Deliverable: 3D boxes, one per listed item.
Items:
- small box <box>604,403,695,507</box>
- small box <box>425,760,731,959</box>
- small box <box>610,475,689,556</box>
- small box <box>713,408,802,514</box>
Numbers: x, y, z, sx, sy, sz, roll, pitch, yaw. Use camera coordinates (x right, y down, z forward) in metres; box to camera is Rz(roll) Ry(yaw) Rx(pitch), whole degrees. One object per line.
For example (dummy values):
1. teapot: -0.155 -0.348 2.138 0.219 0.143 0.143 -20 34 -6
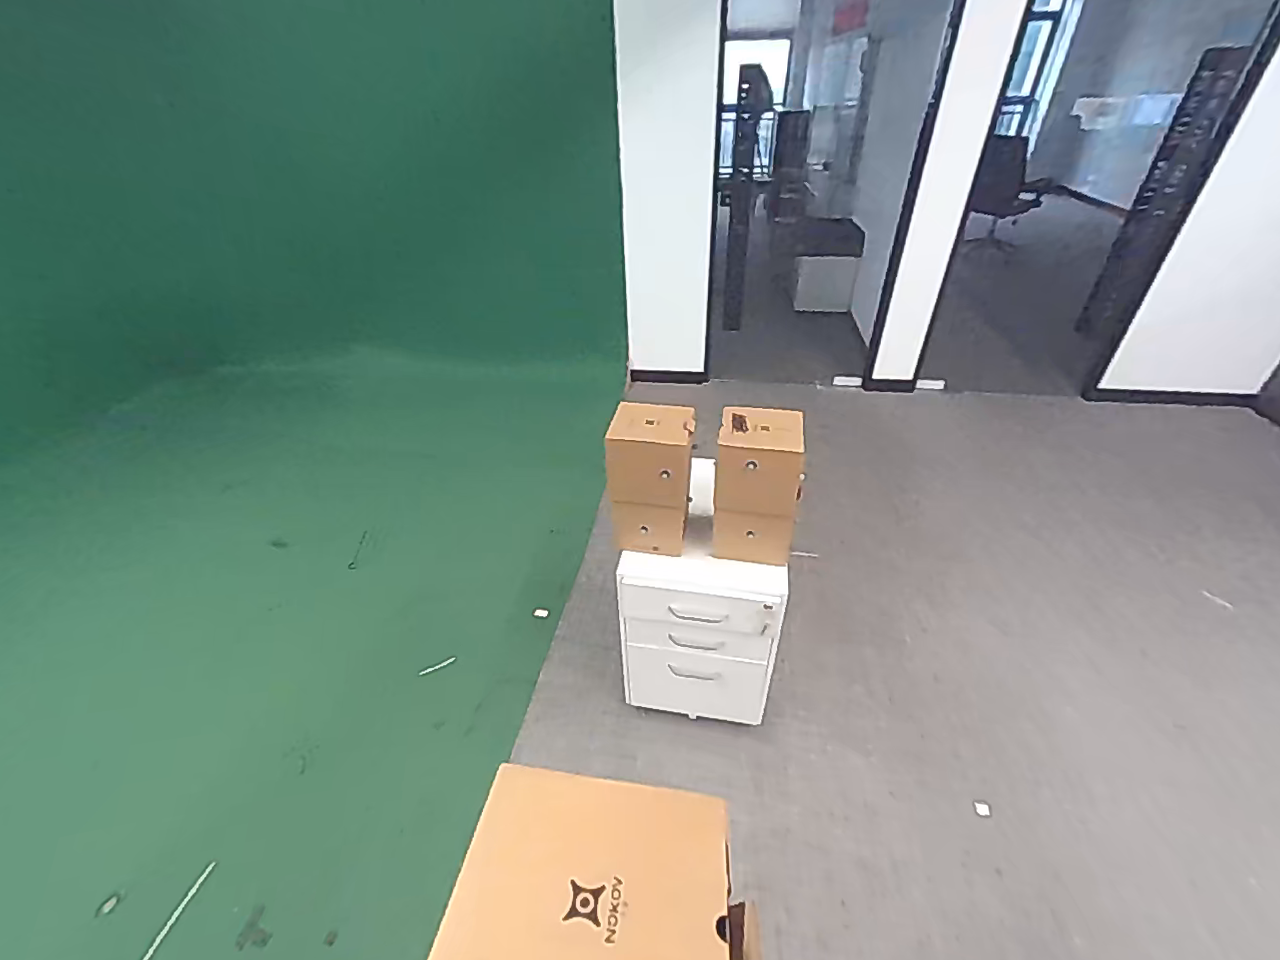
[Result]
1. small box: 0.025 -0.056 1.222 0.179 0.176 0.168 5 36 8
2. small box: -0.037 0.333 0.373 0.179 0.176 0.168 8 26 3
3. small box: 0.029 0.065 1.331 0.168 0.176 0.179 7 37 9
4. small box: 0.258 -0.042 1.193 0.179 0.176 0.168 6 37 11
